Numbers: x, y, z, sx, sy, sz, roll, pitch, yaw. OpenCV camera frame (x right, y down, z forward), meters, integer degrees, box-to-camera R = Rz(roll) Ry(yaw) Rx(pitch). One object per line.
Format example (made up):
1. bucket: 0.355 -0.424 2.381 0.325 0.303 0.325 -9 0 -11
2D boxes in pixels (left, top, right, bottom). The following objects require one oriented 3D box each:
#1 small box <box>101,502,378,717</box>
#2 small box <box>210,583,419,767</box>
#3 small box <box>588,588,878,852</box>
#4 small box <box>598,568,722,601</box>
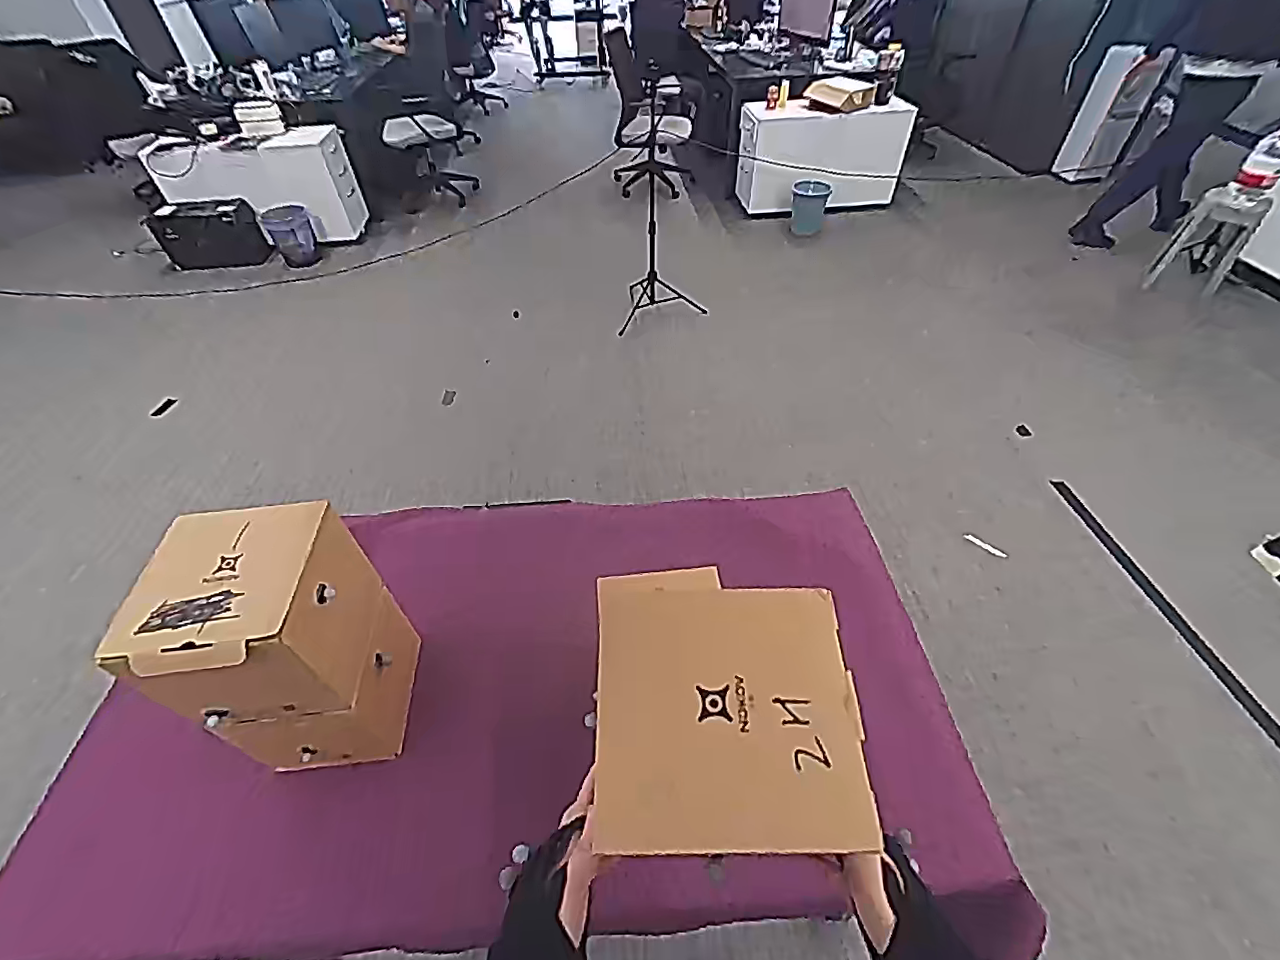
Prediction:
1. small box: -0.420 0.151 0.611 0.168 0.176 0.179 -6 47 -4
2. small box: -0.415 0.264 0.731 0.168 0.176 0.179 -5 48 -3
3. small box: 0.057 0.195 0.430 0.179 0.176 0.168 0 57 0
4. small box: 0.034 0.243 0.732 0.168 0.176 0.179 -5 46 -3
